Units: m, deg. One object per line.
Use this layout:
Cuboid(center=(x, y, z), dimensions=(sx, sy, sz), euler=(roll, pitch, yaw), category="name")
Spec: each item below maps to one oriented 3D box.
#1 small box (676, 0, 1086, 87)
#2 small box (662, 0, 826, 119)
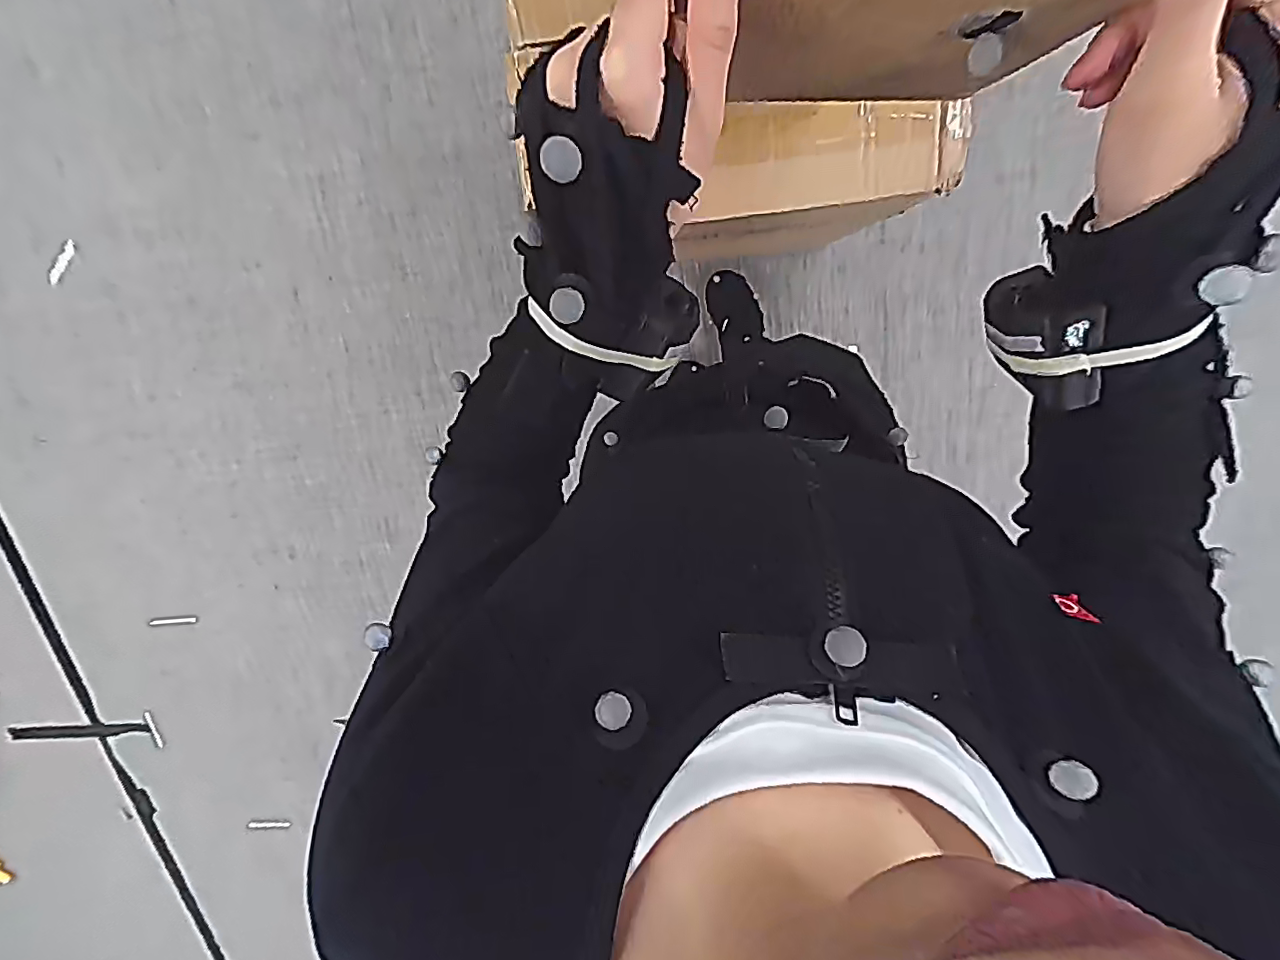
Cuboid(center=(0.105, -0.285, 0.224), dimensions=(0.179, 0.176, 0.168), euler=(2, 112, 4), category="small box")
Cuboid(center=(0.109, -0.475, 0.524), dimensions=(0.179, 0.176, 0.168), euler=(-3, 107, 4), category="small box")
